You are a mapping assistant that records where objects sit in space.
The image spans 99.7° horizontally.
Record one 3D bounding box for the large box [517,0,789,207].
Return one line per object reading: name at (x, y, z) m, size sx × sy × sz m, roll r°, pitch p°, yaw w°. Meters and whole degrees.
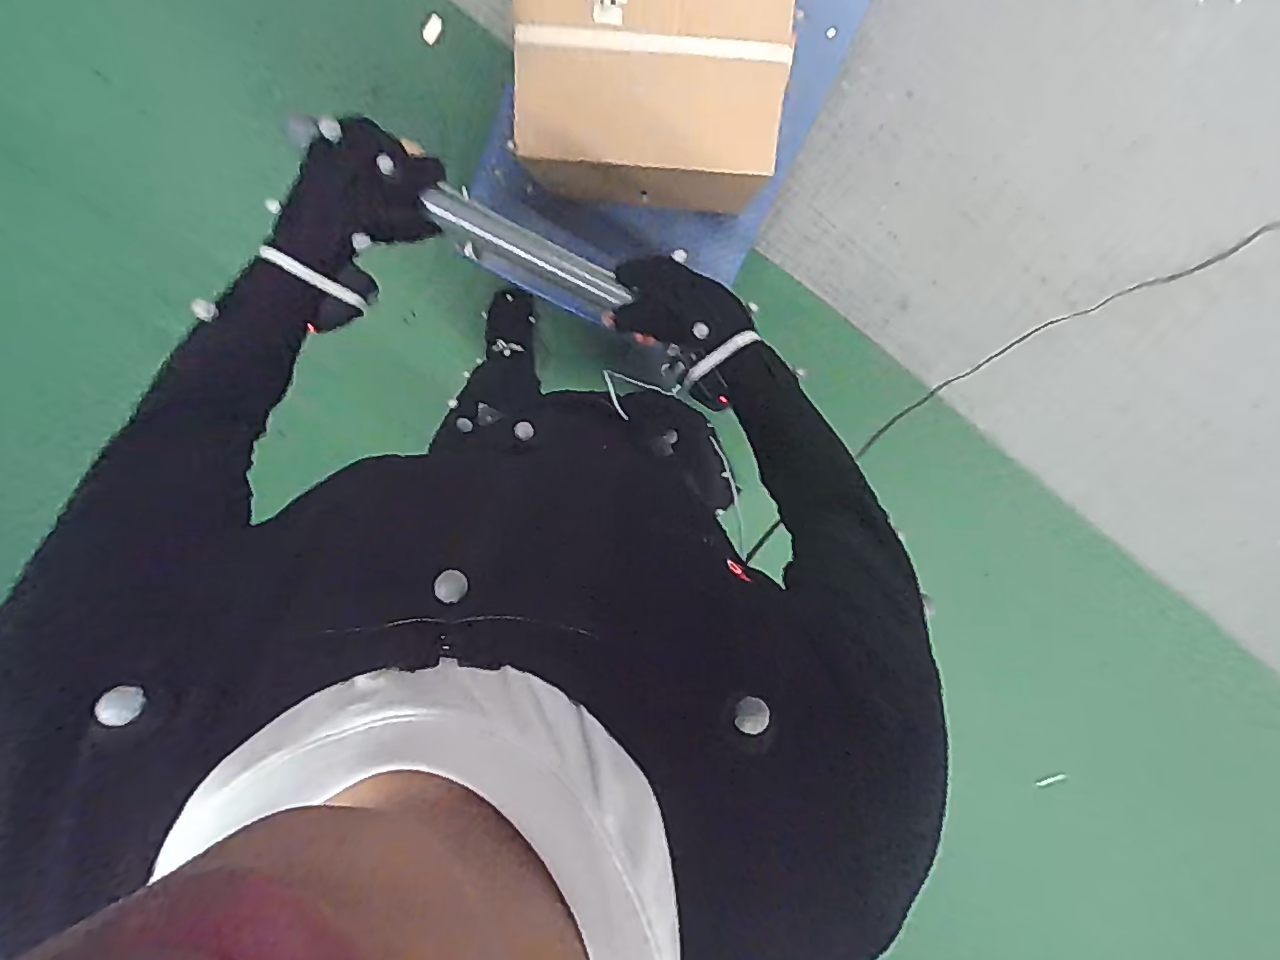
large box at (0.021, -0.678, 0.944) m, size 0.408 × 0.320 × 0.320 m, roll 4°, pitch 106°, yaw 1°
